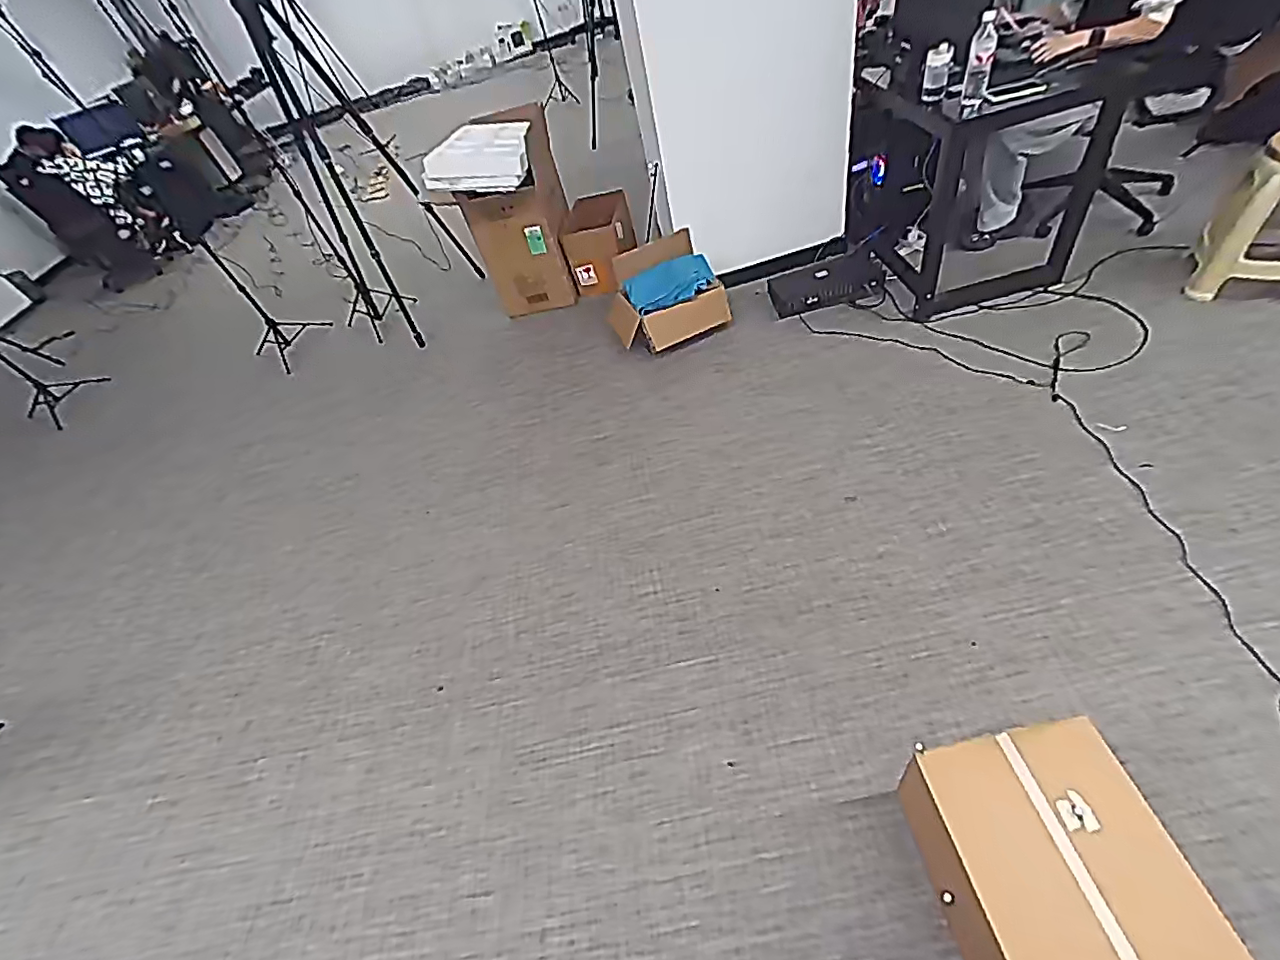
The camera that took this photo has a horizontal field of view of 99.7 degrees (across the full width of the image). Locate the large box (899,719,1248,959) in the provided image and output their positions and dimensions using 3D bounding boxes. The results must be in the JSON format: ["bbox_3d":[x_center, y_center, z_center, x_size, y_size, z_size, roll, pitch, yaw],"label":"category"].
[{"bbox_3d":[0.718,0.713,0.968,0.320,0.320,0.408,-14,46,4],"label":"large box"}]
